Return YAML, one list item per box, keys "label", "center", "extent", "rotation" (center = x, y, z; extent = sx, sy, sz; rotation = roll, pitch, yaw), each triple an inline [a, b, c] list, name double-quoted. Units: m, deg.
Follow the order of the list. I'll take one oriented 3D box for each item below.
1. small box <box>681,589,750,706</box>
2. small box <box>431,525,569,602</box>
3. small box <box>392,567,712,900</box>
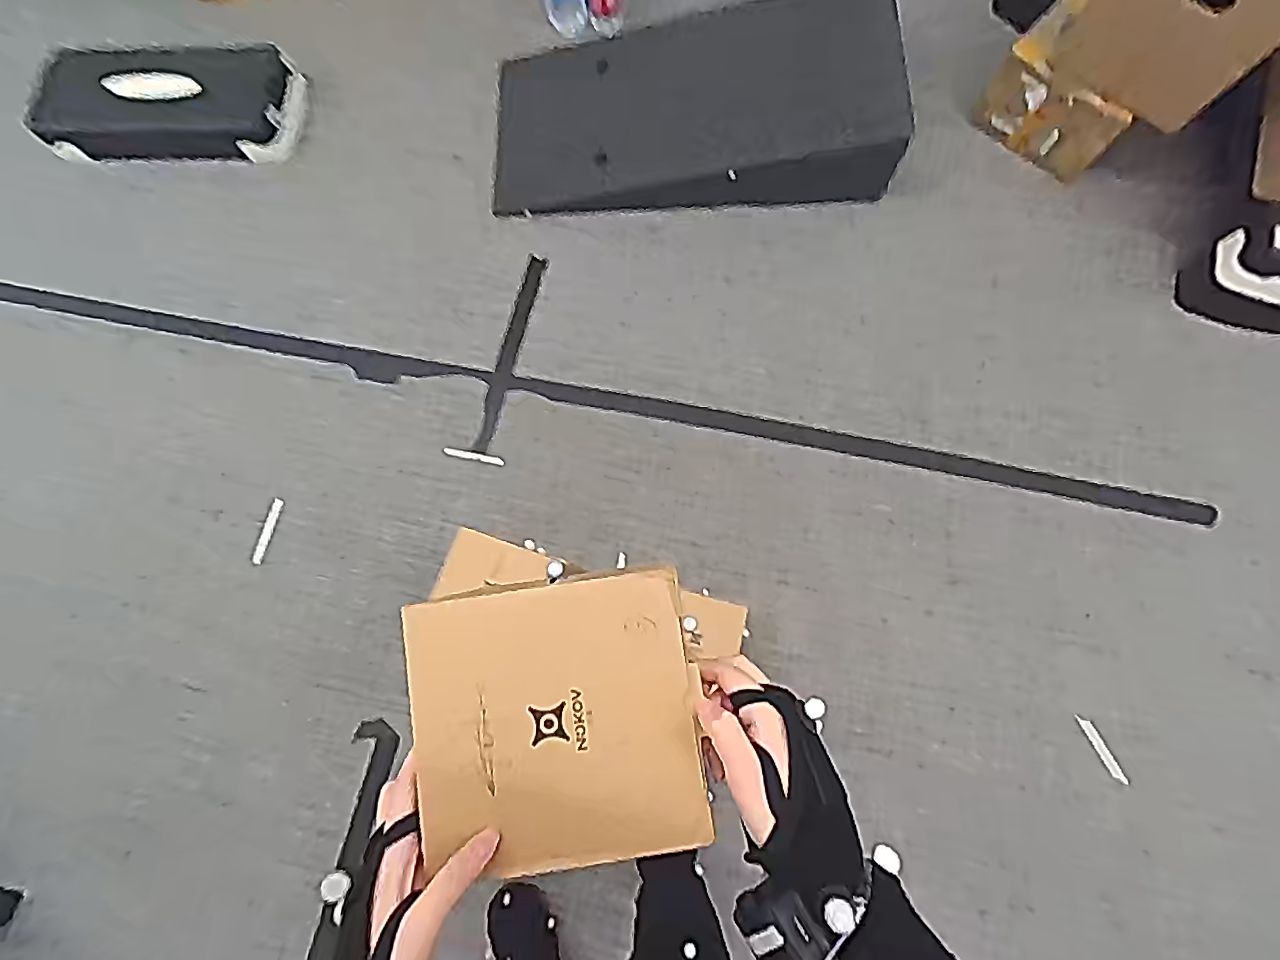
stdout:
- label: "small box"
  center: [0.105, 0.317, 1.056]
  extent: [0.168, 0.176, 0.179]
  rotation: [15, 78, 6]
- label: "small box"
  center: [-0.233, 0.197, 0.927]
  extent: [0.168, 0.176, 0.179]
  rotation: [19, 78, 6]
- label: "small box"
  center: [-0.054, 0.156, 0.395]
  extent: [0.179, 0.176, 0.168]
  rotation: [-7, 83, -1]
